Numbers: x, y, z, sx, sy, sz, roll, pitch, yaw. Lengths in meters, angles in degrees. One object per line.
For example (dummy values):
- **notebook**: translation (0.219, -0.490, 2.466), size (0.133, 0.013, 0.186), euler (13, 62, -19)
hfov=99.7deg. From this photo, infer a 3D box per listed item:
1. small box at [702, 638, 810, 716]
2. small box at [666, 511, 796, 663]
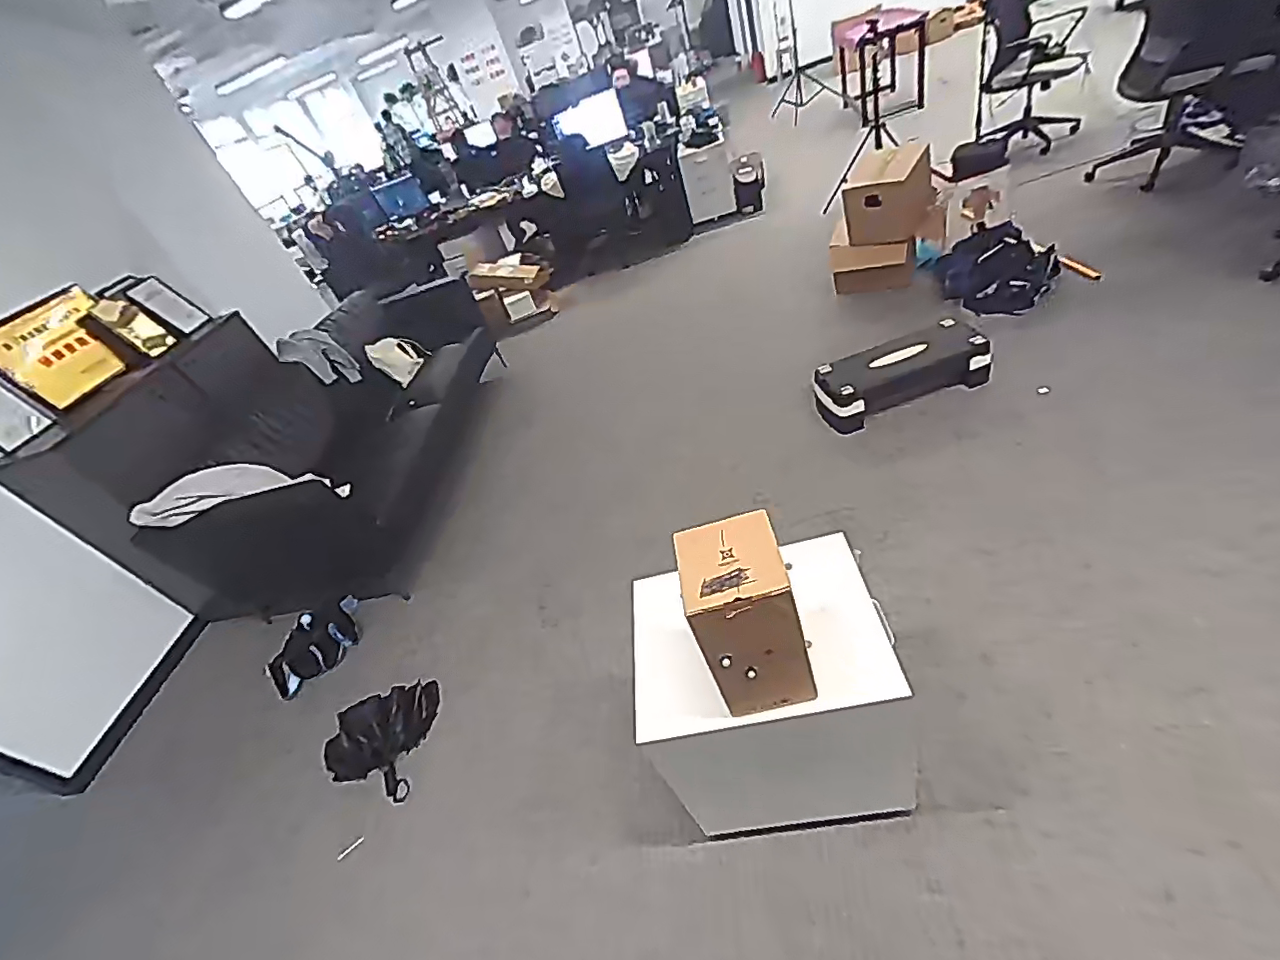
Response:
- **small box**: translation (0.205, 0.308, 1.013), size (0.168, 0.176, 0.179), euler (-18, 37, 8)
- **small box**: translation (0.153, 0.187, 0.913), size (0.168, 0.176, 0.179), euler (-17, 37, 8)
